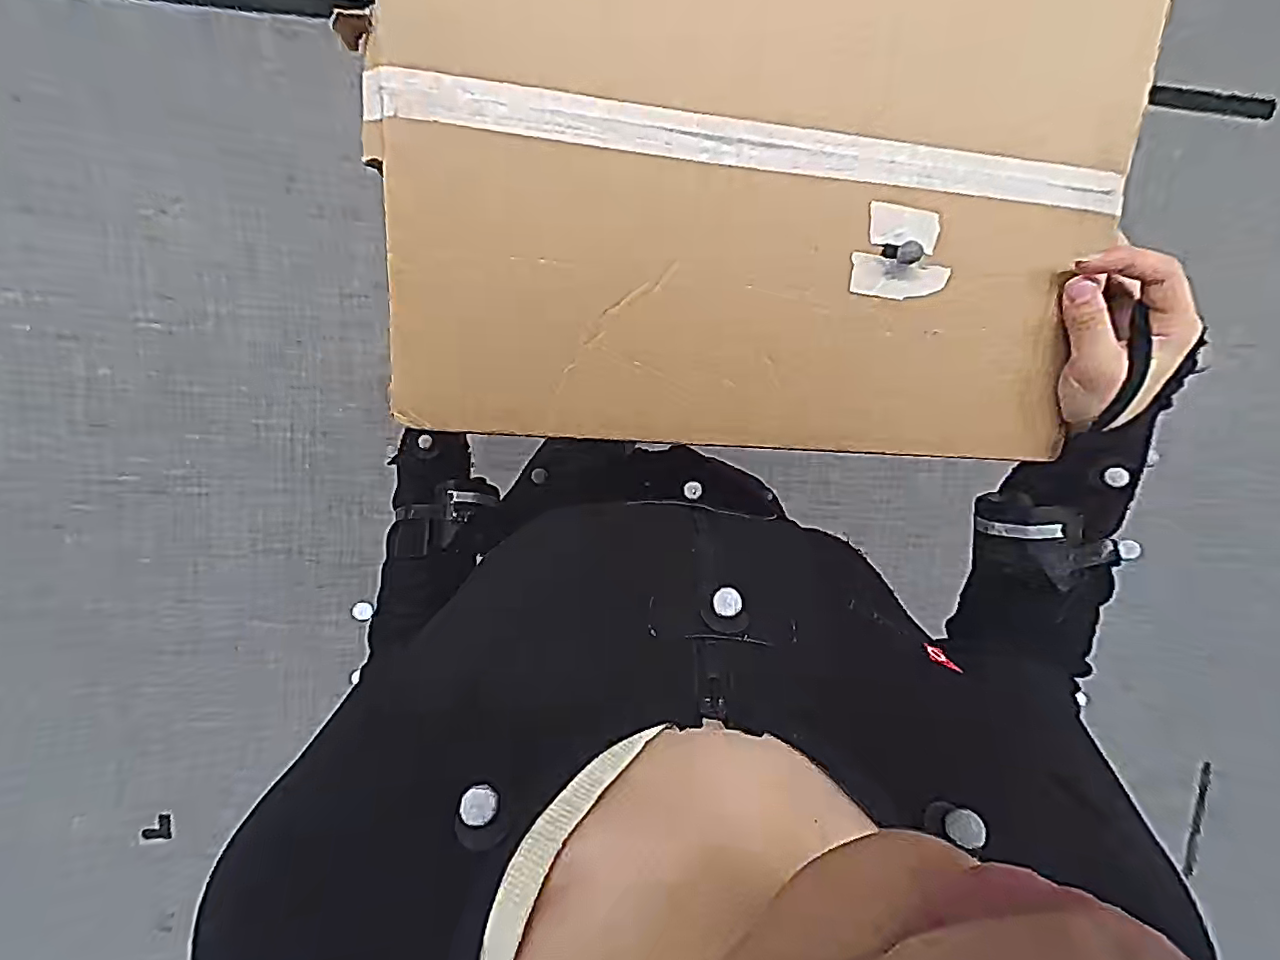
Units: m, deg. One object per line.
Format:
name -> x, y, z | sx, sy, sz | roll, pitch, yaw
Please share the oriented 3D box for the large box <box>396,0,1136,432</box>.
large box -> 0.053, -0.216, 0.434 | 0.408, 0.320, 0.320 | 2, 103, -11
